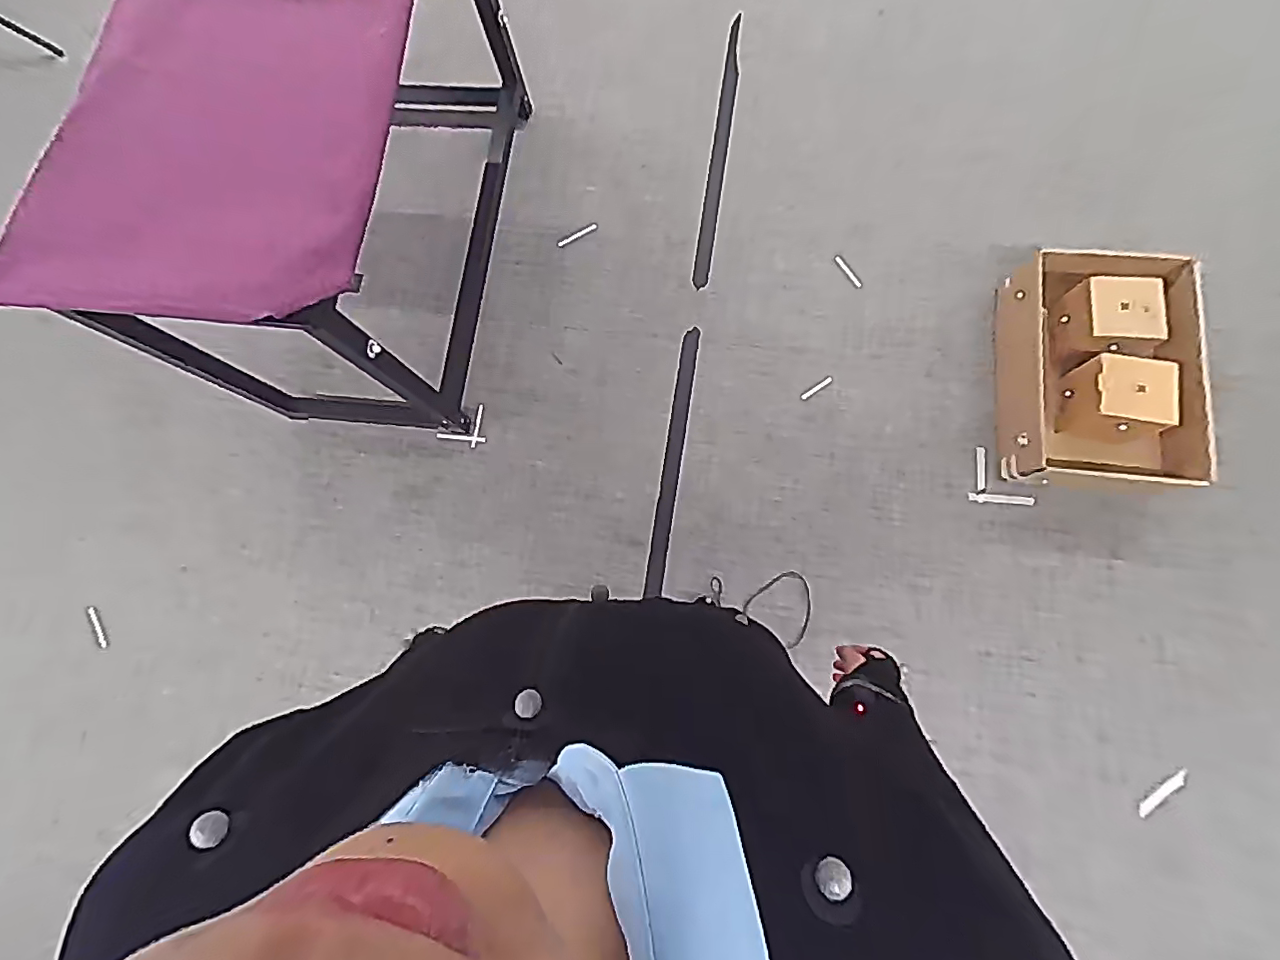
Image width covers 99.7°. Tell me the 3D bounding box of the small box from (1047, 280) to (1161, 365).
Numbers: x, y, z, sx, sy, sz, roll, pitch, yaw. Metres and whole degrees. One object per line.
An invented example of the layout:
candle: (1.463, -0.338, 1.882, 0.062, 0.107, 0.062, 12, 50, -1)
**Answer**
small box: (1.230, -0.416, 1.451, 0.179, 0.176, 0.168, 4, 80, 5)

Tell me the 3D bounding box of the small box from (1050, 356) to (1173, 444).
small box: (1.223, -0.202, 1.410, 0.179, 0.176, 0.168, 11, 79, 6)
